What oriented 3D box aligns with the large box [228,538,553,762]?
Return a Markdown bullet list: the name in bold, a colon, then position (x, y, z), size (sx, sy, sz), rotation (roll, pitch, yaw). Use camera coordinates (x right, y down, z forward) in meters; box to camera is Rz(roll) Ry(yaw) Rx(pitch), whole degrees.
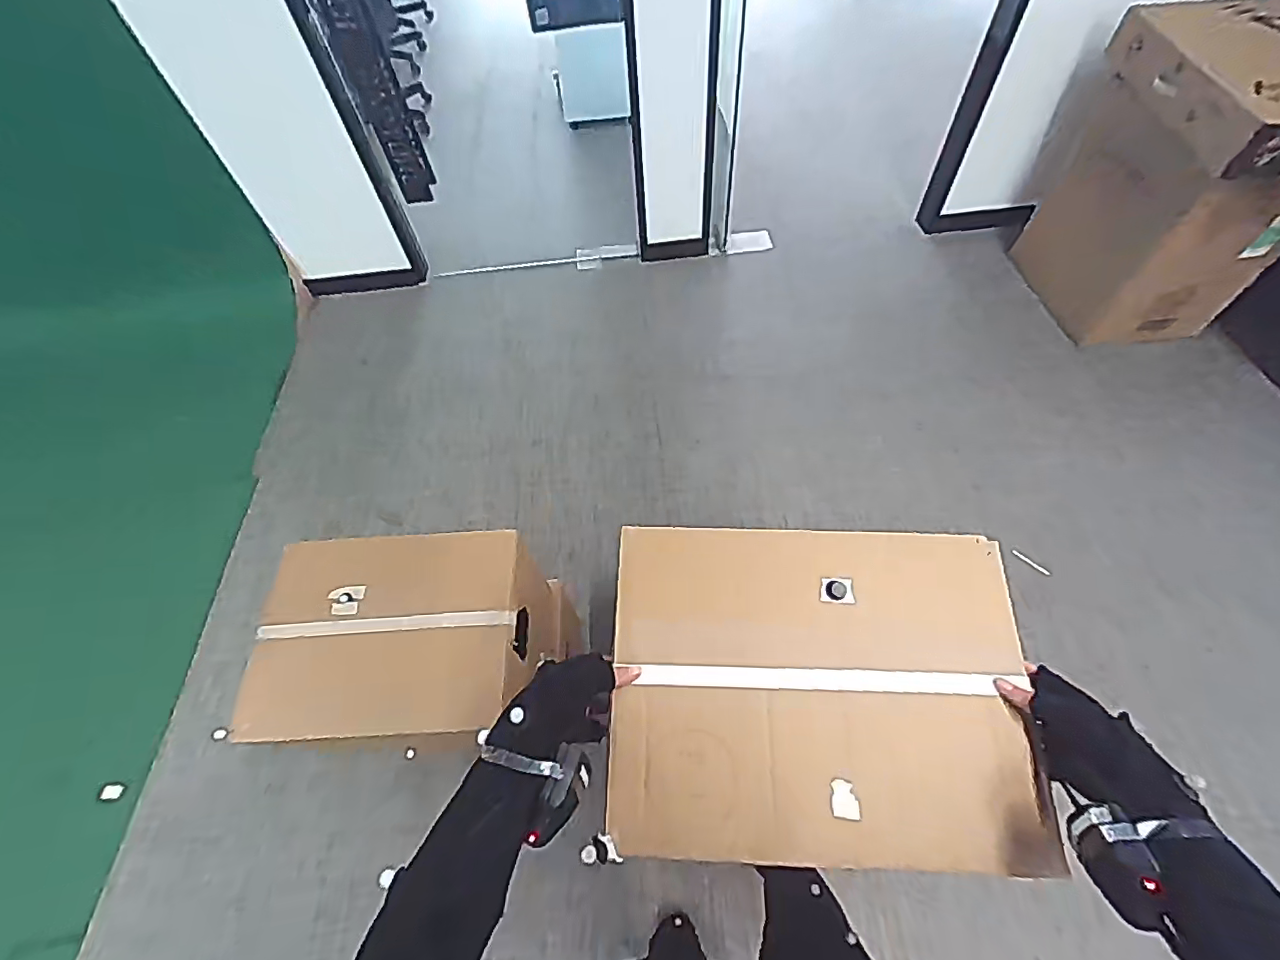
- **large box**: position (-0.386, 0.317, 0.964), size (0.408, 0.320, 0.320), rotation (-4, 58, 3)
